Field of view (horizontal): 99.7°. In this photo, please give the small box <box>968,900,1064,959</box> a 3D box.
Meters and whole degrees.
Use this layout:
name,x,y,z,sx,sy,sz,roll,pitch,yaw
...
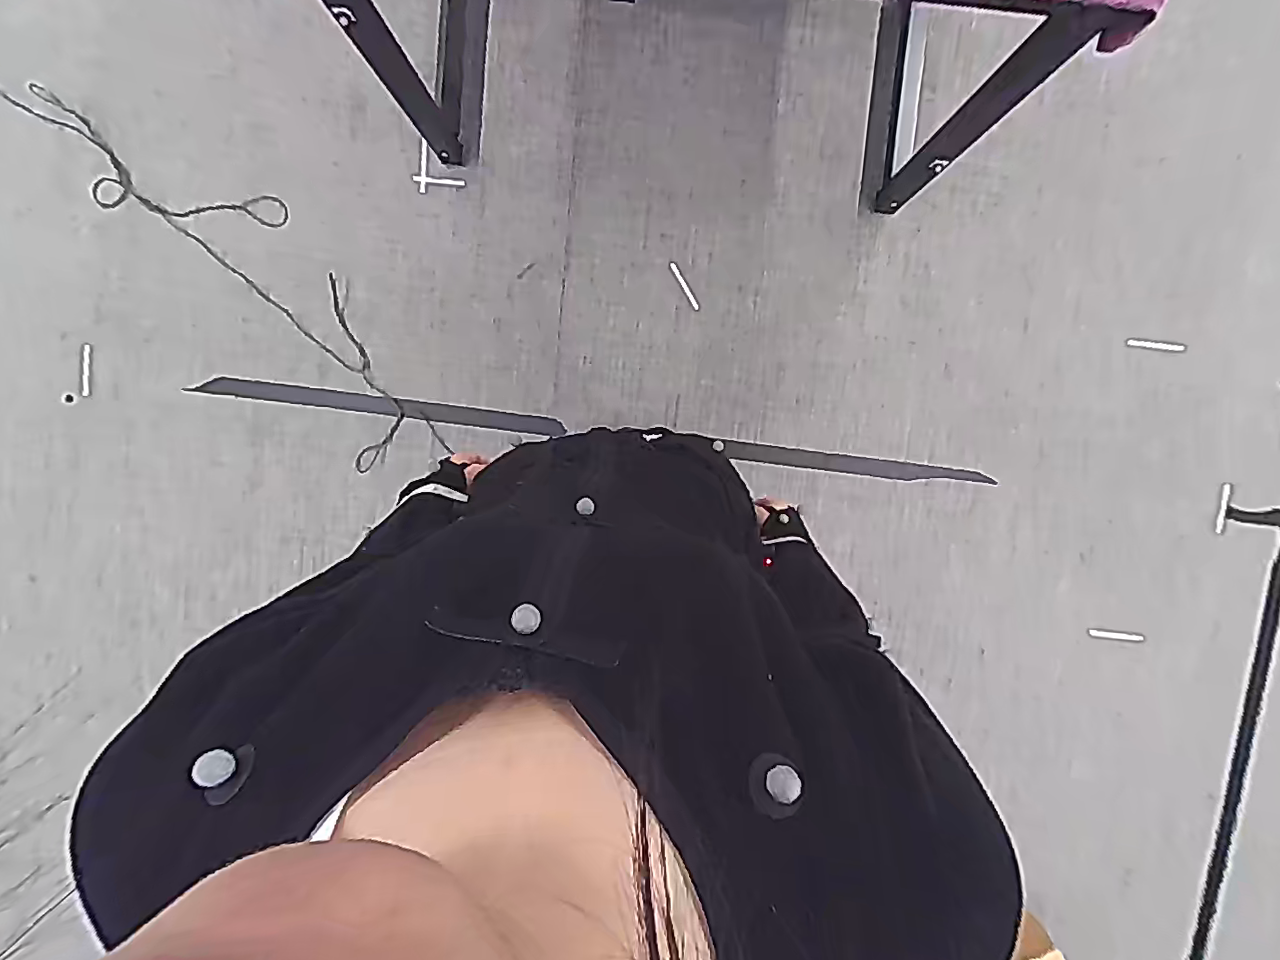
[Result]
name,x,y,z,sx,sy,sz,roll,pitch,yaw
small box,1.077,1.340,1.528,0.168,0.176,0.179,-31,95,4
